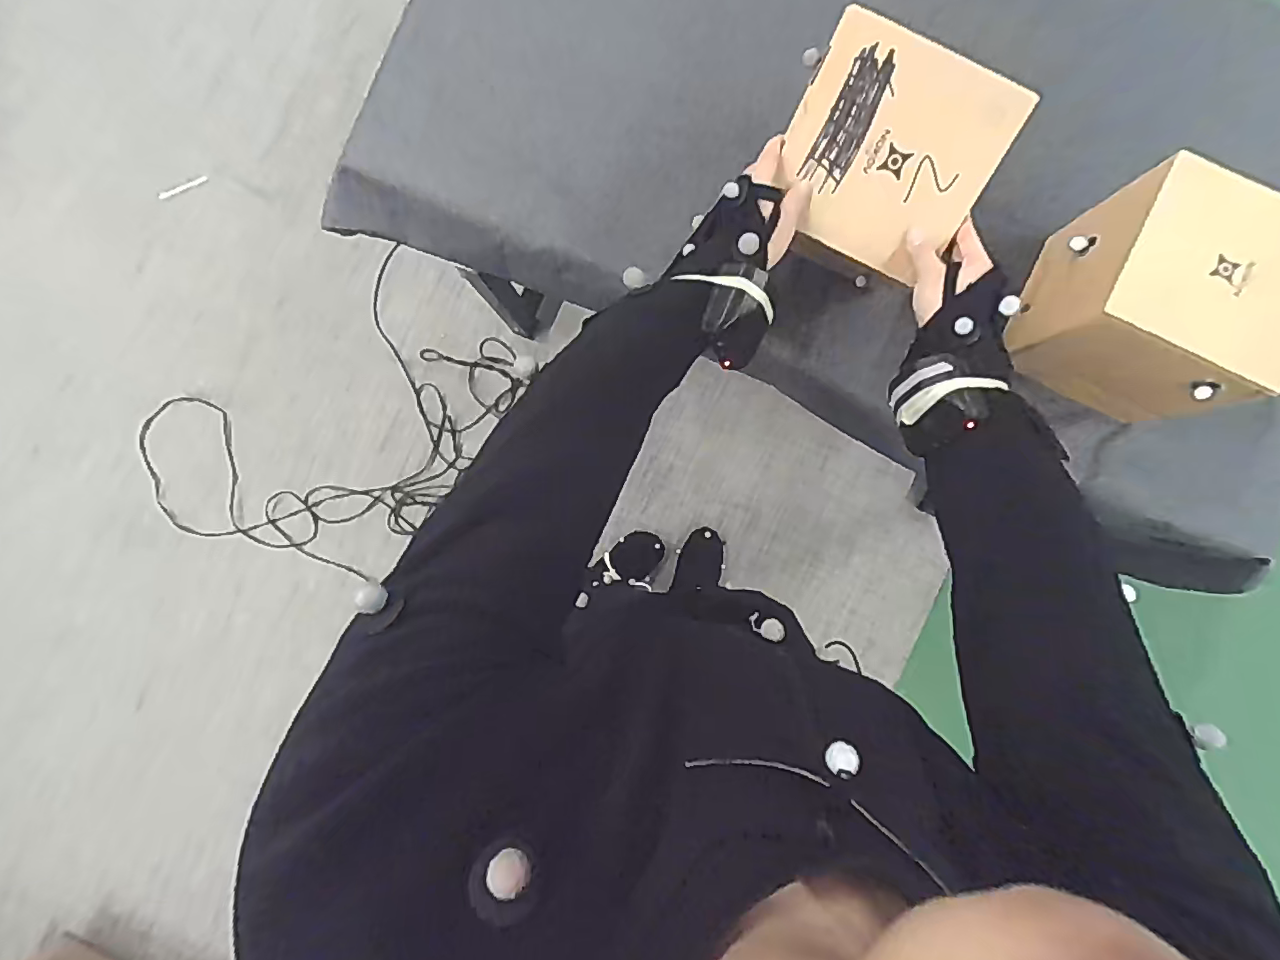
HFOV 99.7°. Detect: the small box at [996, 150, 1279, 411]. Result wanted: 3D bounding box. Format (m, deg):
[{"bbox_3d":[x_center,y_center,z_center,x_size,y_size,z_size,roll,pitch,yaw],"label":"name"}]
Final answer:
[{"bbox_3d":[0.521,-0.184,0.558,0.179,0.176,0.168,26,89,1],"label":"small box"}]
